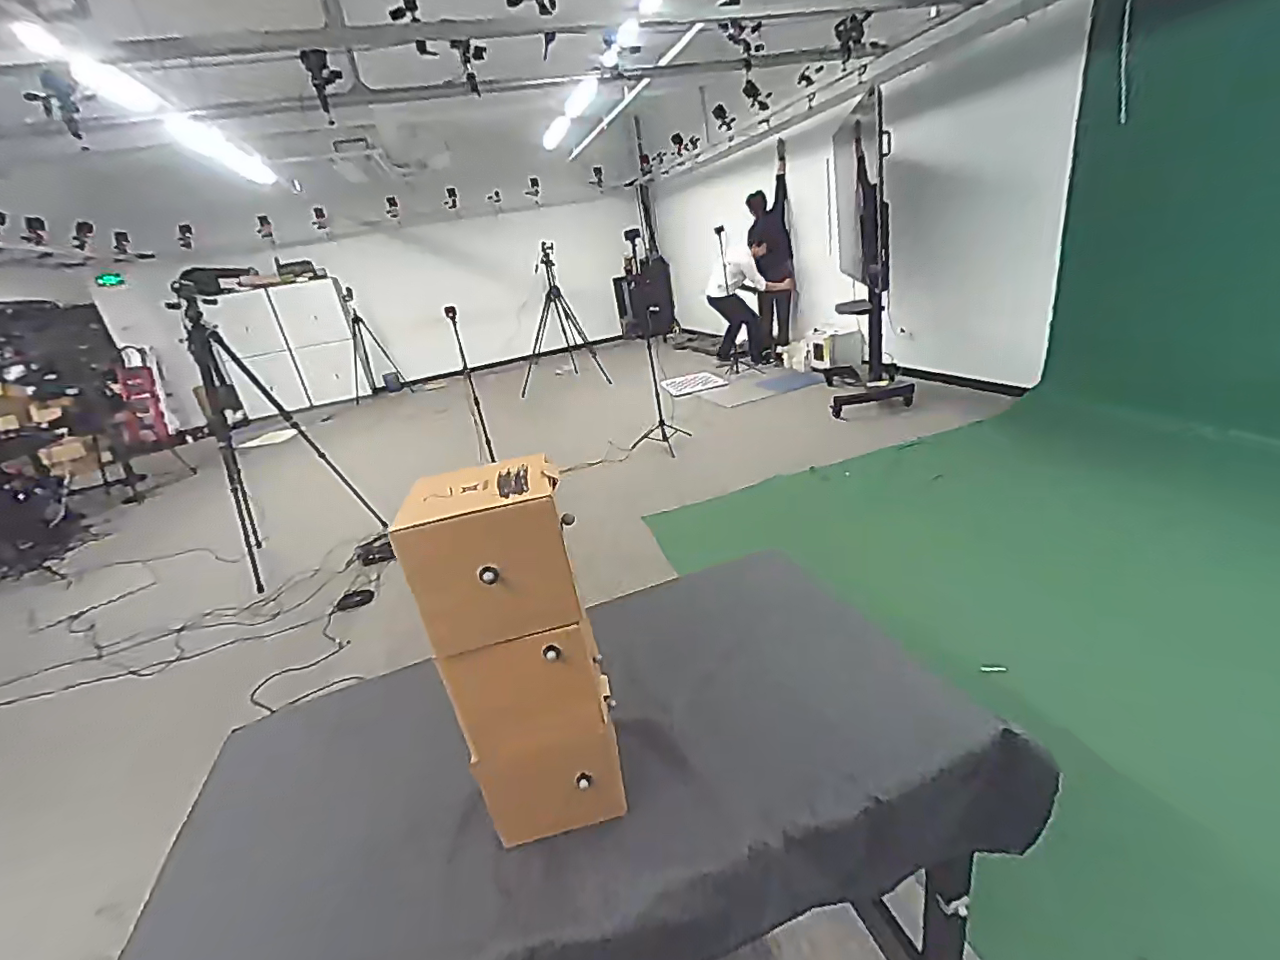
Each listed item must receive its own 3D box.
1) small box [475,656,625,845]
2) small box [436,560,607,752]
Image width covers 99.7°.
[{"bbox_3d":[-0.124,0.385,0.791,0.179,0.176,0.168,-13,21,-5],"label":"small box"},{"bbox_3d":[-0.152,0.235,0.735,0.179,0.176,0.168,-12,21,-6],"label":"small box"}]
